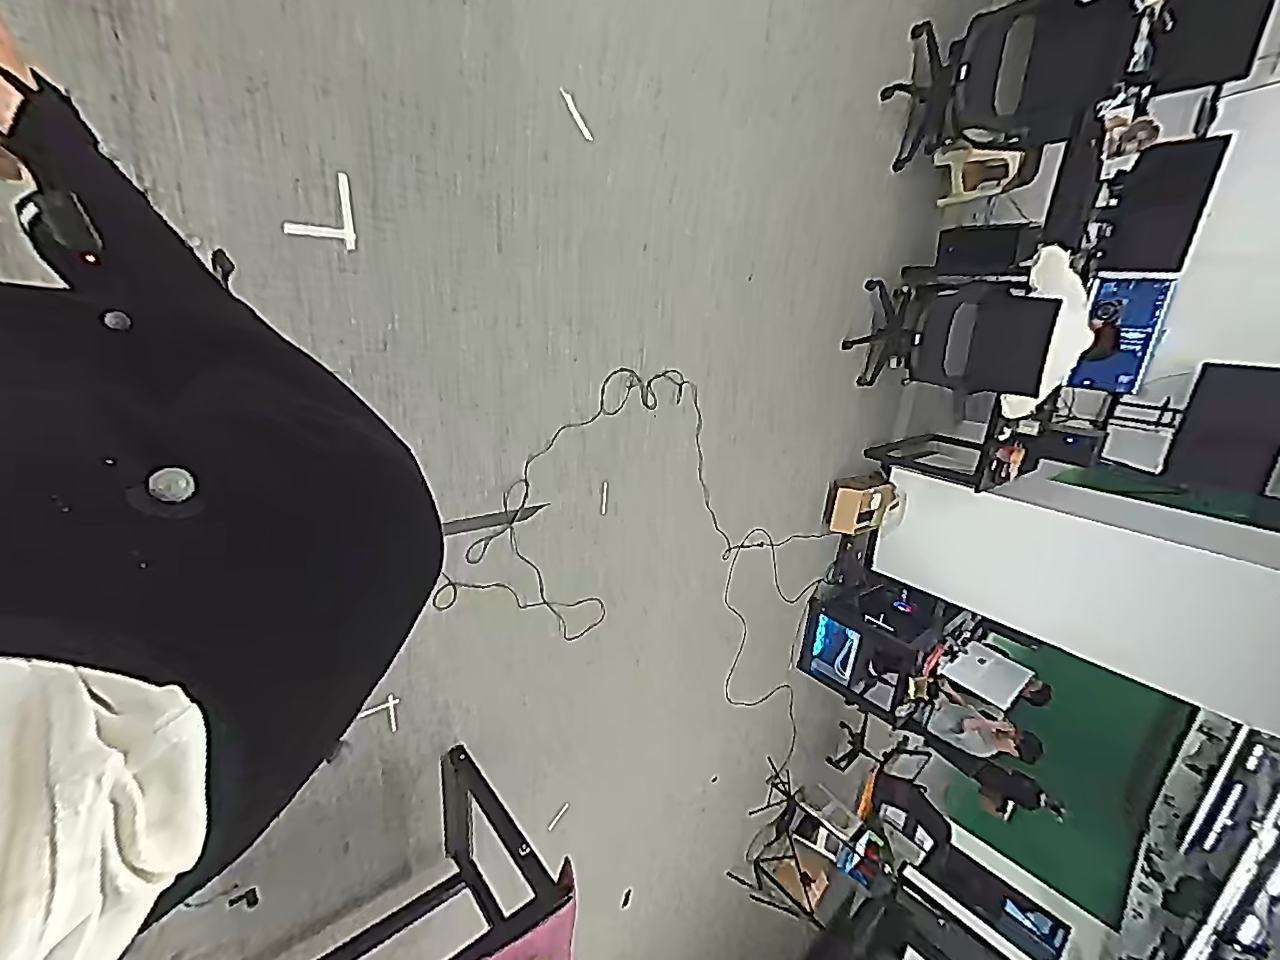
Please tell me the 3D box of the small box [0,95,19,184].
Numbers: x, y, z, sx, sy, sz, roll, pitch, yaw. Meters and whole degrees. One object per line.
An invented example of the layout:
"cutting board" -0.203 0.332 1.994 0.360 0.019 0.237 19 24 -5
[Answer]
"small box" -0.646 -0.363 0.429 0.168 0.176 0.179 -20 108 -43
